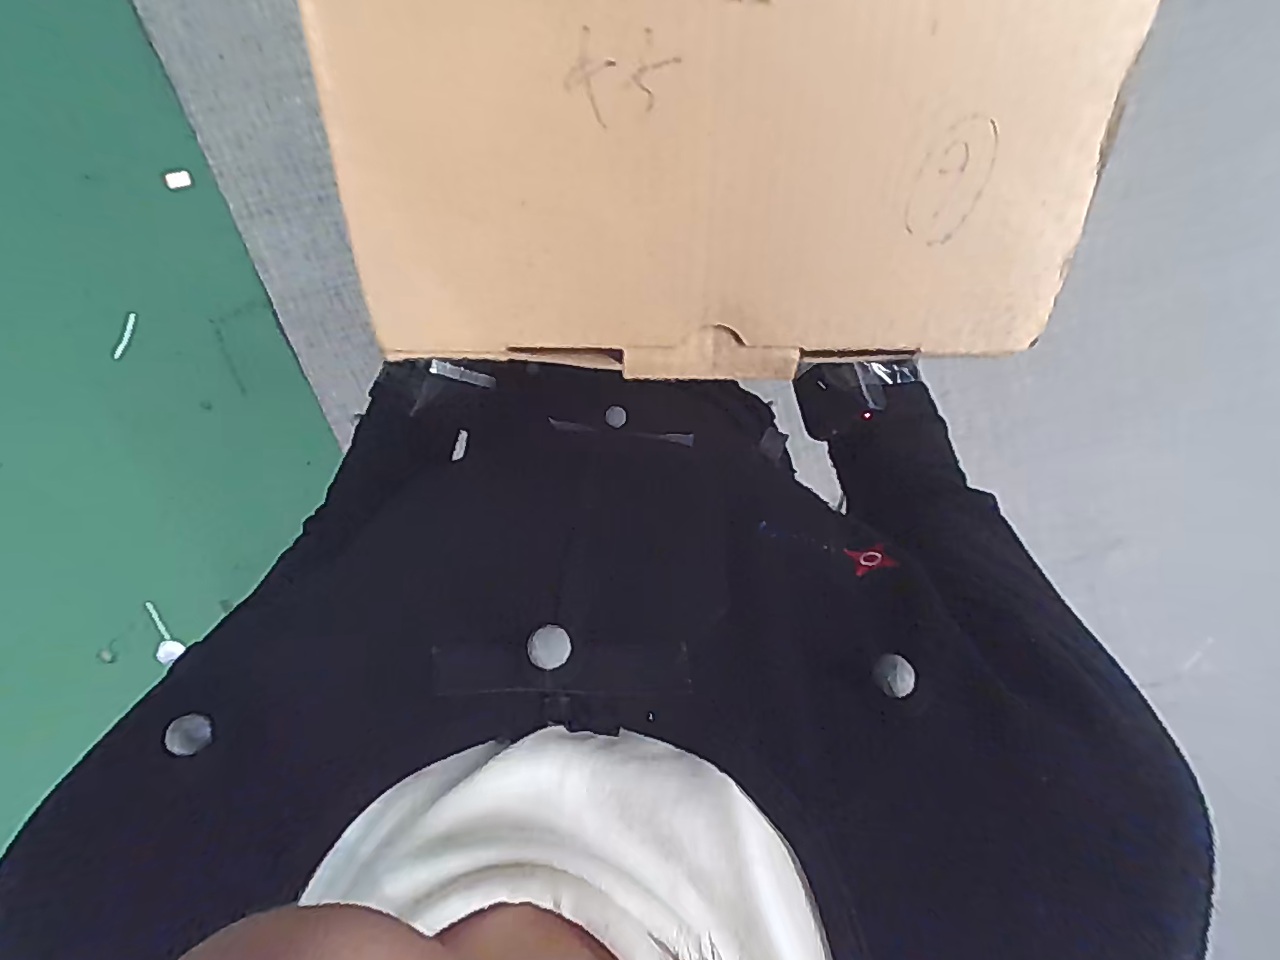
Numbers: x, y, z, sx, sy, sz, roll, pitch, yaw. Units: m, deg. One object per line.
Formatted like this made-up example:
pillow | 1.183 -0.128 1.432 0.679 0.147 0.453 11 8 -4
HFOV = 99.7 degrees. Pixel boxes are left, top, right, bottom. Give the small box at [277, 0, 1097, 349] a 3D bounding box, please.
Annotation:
small box | 0.008 -0.150 0.169 0.168 0.176 0.179 0 118 -3
